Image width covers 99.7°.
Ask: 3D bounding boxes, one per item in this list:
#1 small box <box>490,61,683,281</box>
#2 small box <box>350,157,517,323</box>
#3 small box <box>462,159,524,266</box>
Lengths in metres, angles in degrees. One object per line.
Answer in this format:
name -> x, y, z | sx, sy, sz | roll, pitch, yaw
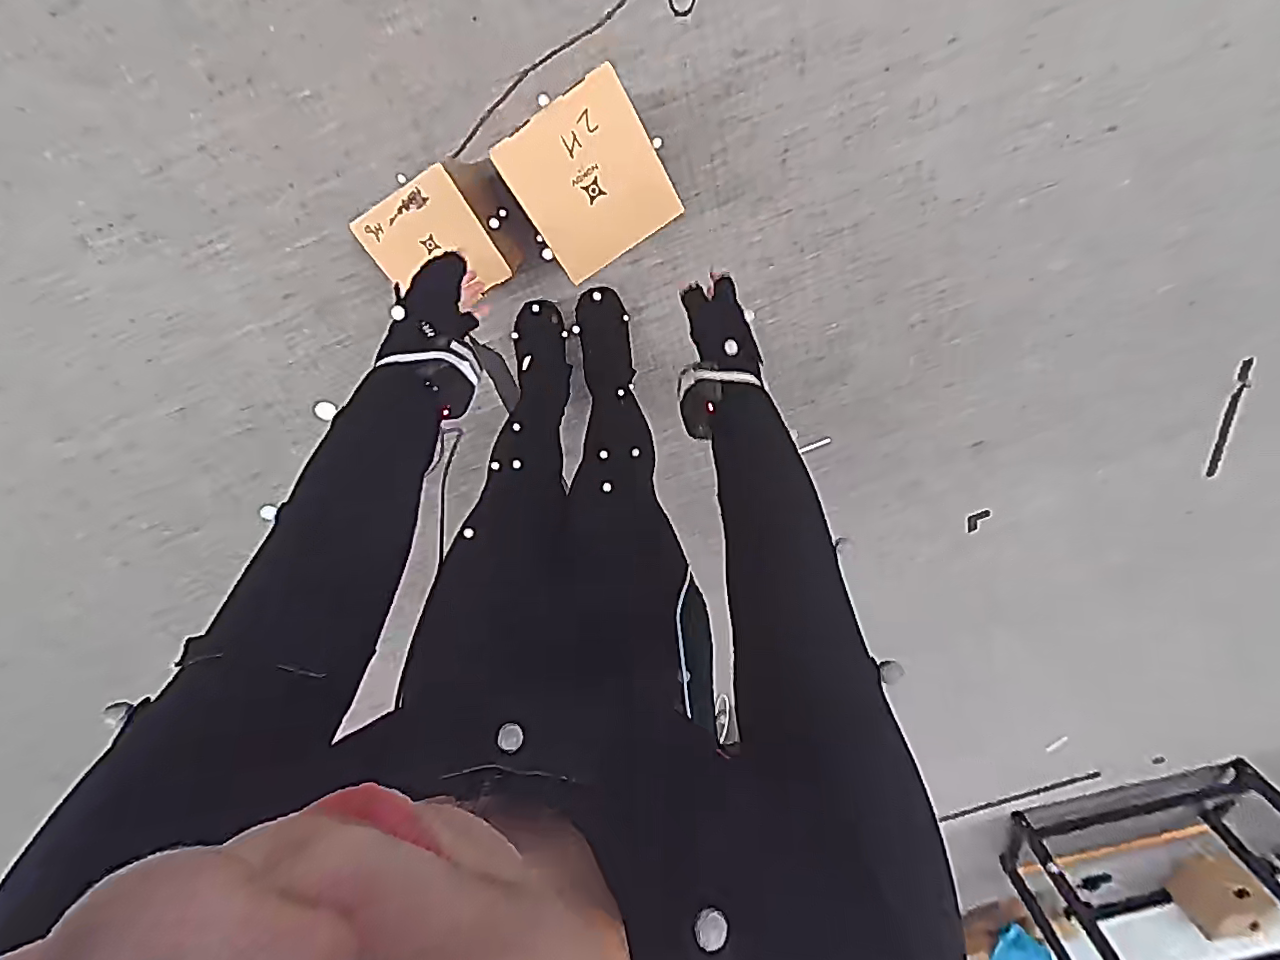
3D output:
small box -> -0.066, -0.394, 0.698 | 0.168, 0.176, 0.179 | -30, 122, 11
small box -> -0.313, -0.388, 0.866 | 0.168, 0.176, 0.179 | -28, 122, 9
small box -> -0.330, -0.472, 1.007 | 0.168, 0.176, 0.179 | -24, 122, 7
